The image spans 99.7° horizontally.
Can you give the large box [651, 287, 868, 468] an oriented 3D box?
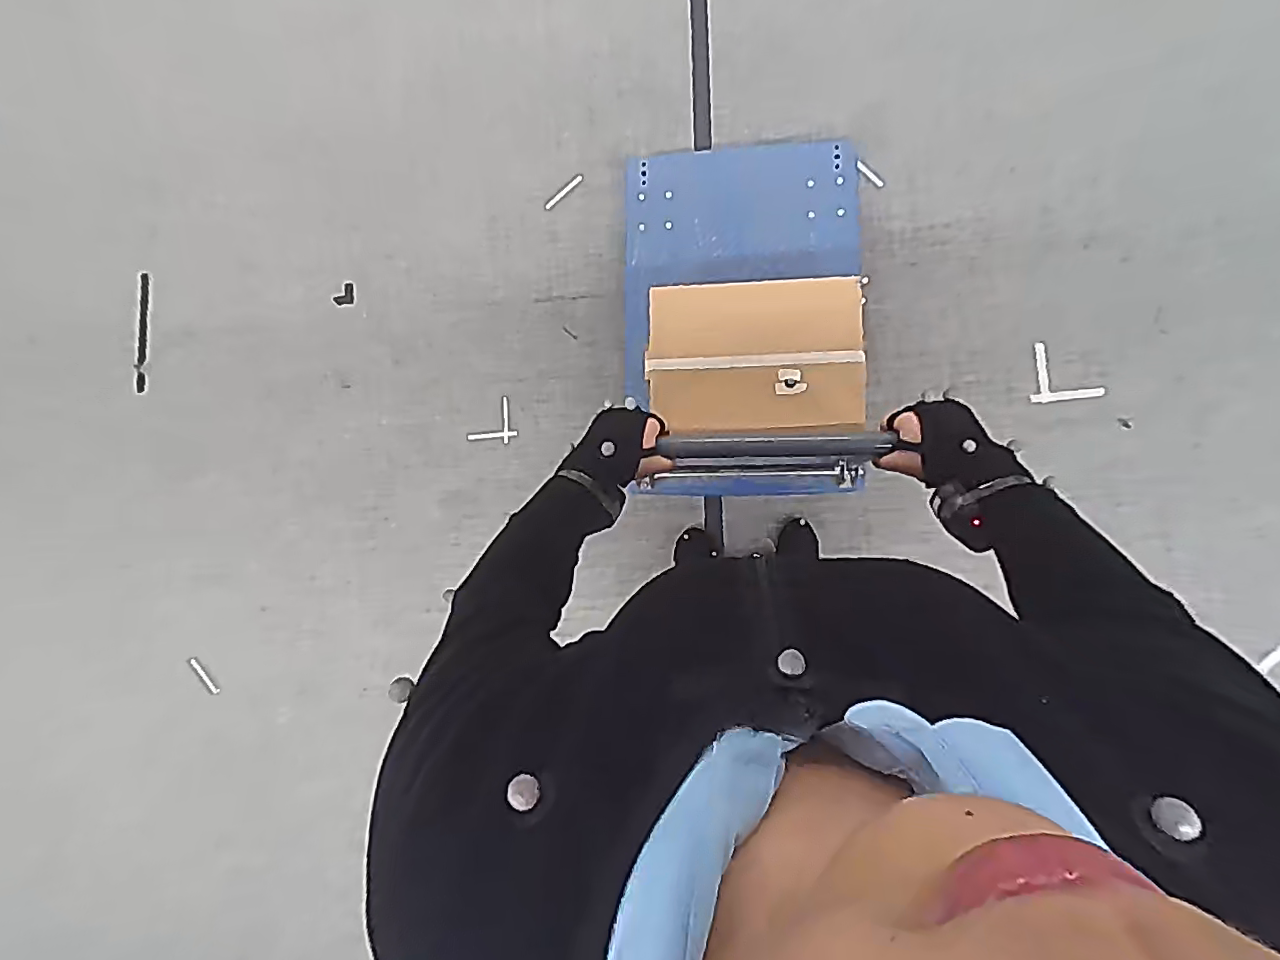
[{"bbox_3d":[0.237,-0.197,1.175,0.408,0.320,0.320,-1,87,7],"label":"large box"}]
